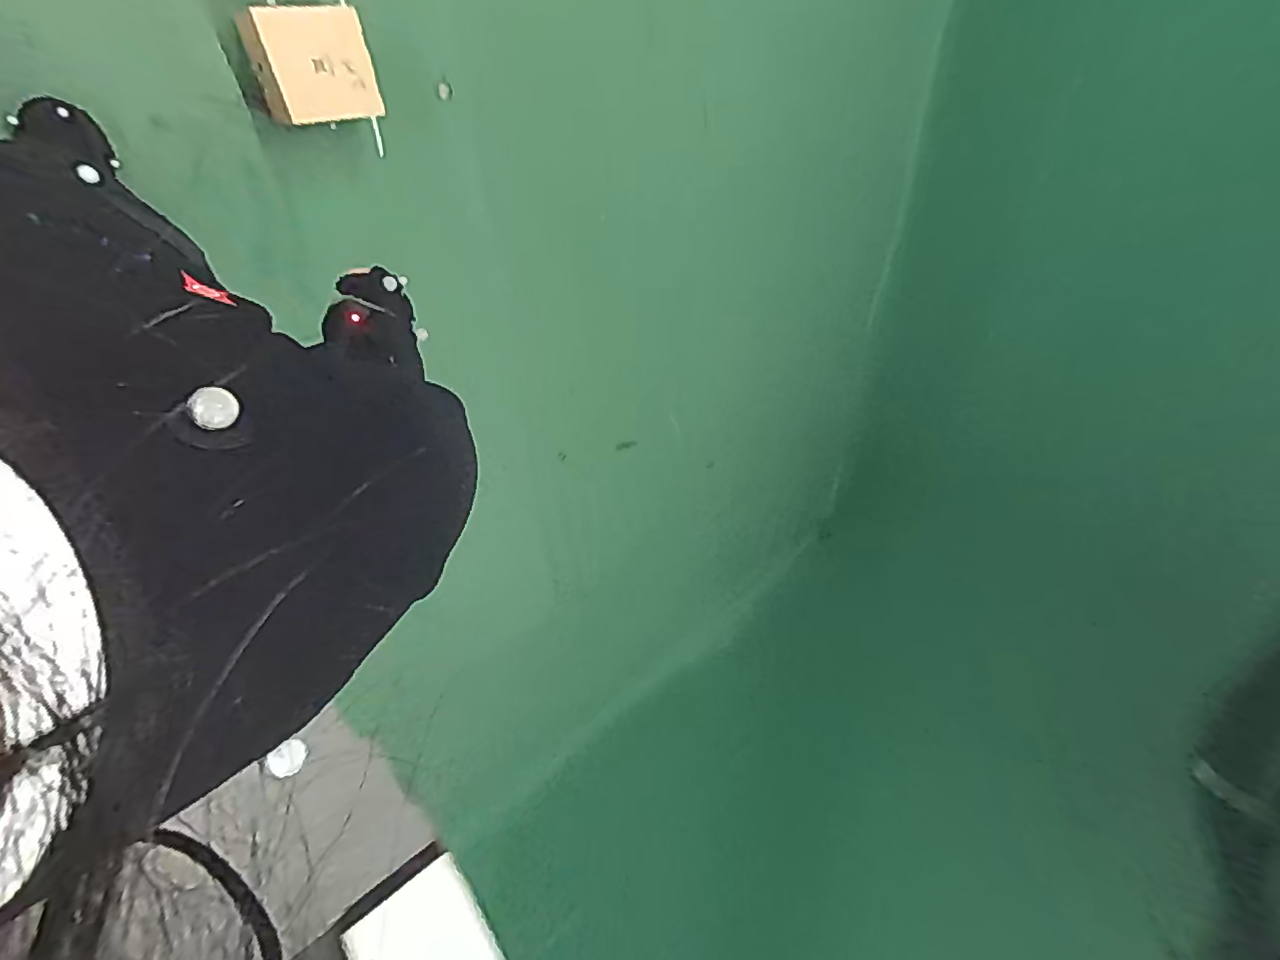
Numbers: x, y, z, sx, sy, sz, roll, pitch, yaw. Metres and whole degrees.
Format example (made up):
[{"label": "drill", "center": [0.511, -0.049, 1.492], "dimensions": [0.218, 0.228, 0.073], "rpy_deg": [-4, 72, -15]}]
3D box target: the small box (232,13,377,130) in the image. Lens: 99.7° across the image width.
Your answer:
[{"label": "small box", "center": [-0.641, -0.772, 1.030], "dimensions": [0.179, 0.176, 0.168], "rpy_deg": [-30, 135, -31]}]
